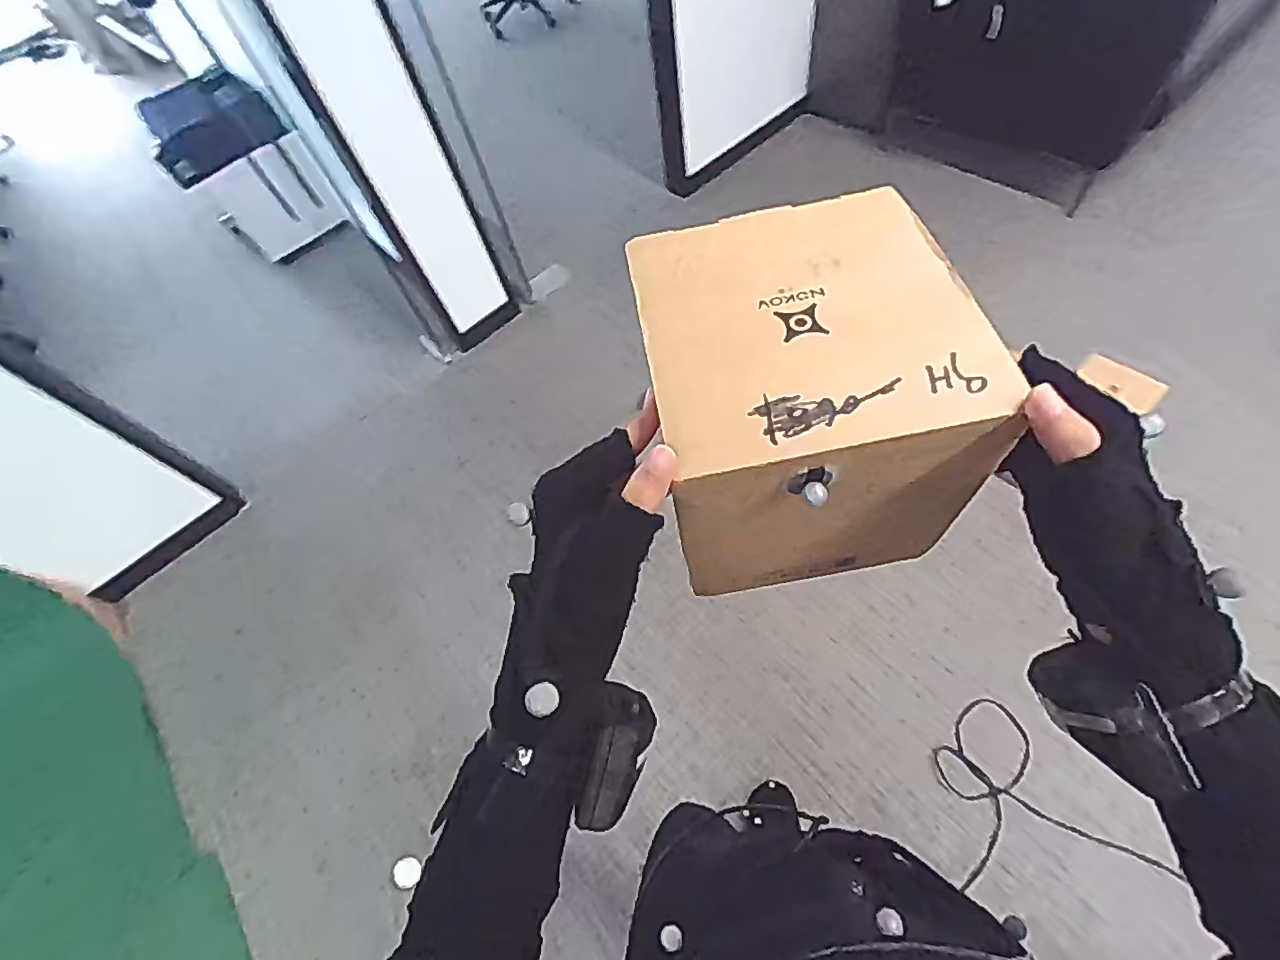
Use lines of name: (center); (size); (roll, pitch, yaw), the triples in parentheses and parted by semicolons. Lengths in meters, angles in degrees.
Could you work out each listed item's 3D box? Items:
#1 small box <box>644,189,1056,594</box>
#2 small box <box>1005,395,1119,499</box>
small box: (0.100, -0.046, 0.348); (0.168, 0.176, 0.179); (-10, 58, 4)
small box: (1.100, -0.085, 1.438); (0.179, 0.176, 0.168); (-40, 60, -13)
